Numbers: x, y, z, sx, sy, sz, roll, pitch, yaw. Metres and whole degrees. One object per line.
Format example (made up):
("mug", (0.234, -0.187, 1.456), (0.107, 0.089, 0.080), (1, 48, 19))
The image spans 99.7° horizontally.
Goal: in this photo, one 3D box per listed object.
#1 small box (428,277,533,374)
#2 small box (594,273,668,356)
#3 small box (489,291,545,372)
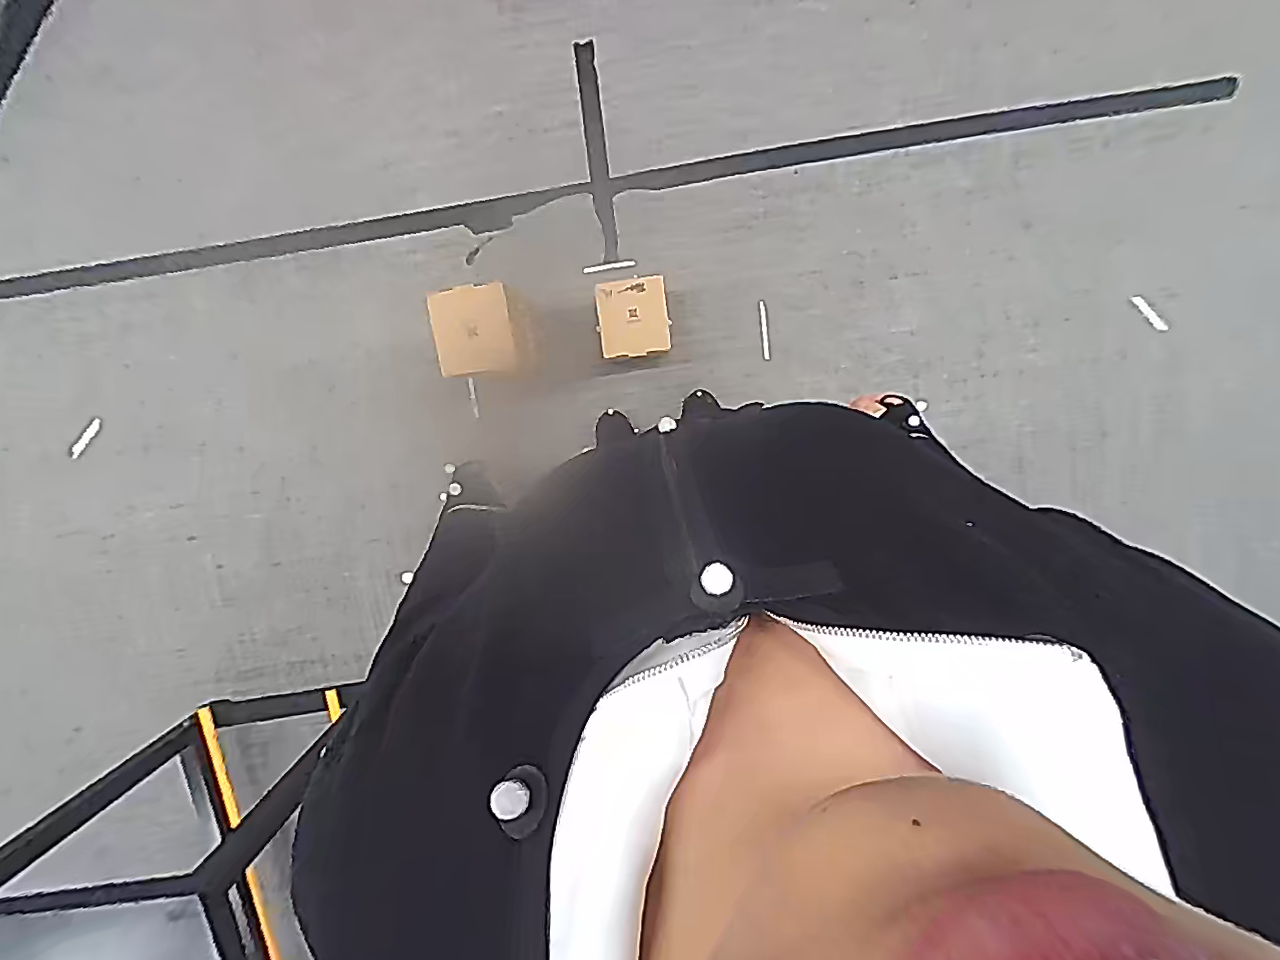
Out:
("small box", (-0.347, -0.337, 1.208), (0.168, 0.176, 0.179), (-8, 101, 3))
("small box", (-0.019, -0.408, 1.362), (0.168, 0.176, 0.179), (-7, 100, 1))
("small box", (-0.344, -0.369, 1.367), (0.179, 0.176, 0.168), (-9, 99, 2))
